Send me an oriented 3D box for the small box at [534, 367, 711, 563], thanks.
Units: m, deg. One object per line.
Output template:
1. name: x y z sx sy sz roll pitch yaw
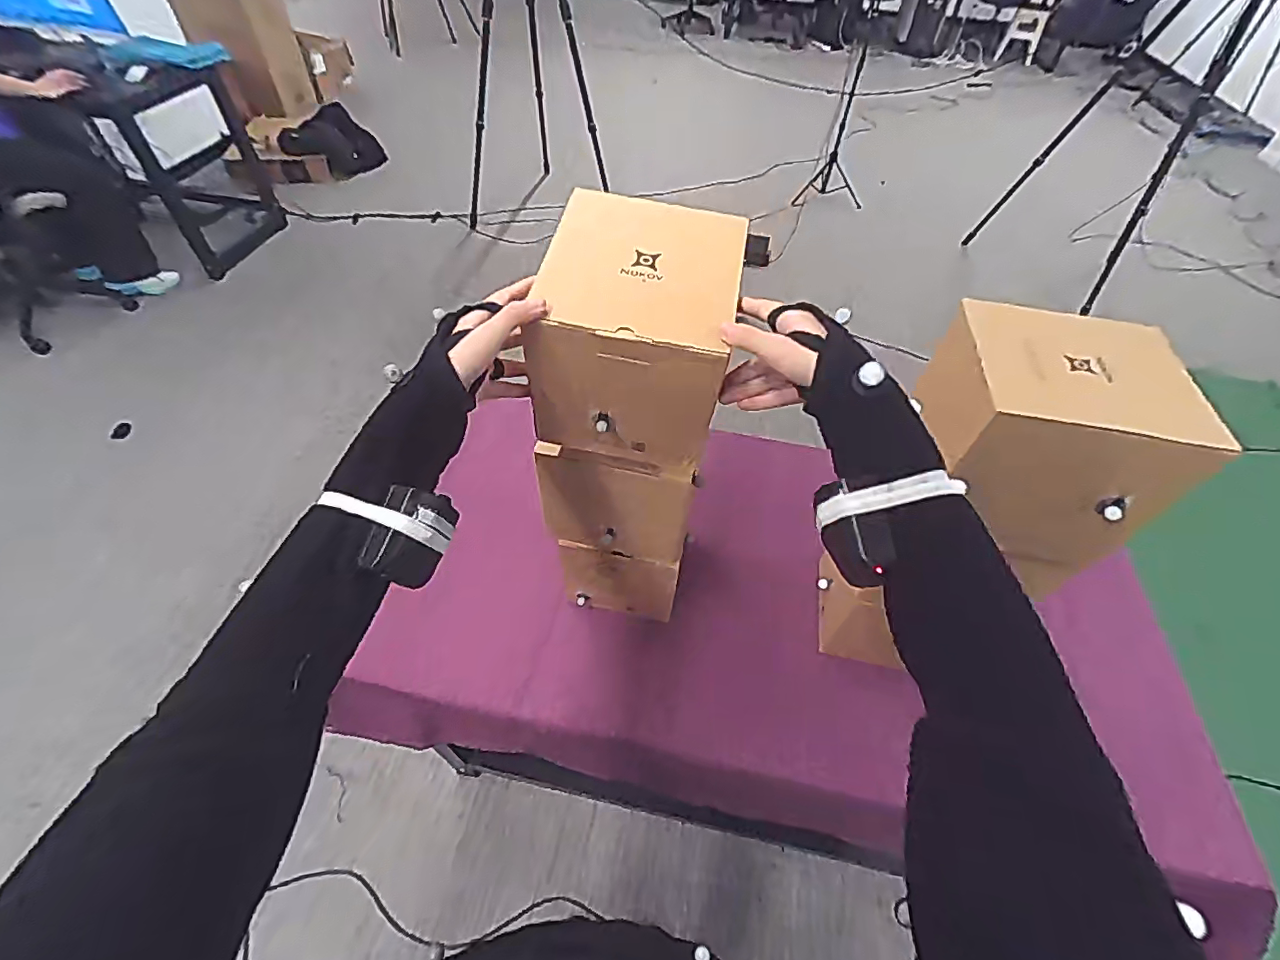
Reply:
1. small box: -0.019 -0.014 0.689 0.179 0.176 0.168 12 50 6

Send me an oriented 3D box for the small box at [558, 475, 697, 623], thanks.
1. small box: -0.015 0.092 0.815 0.168 0.176 0.179 11 50 5

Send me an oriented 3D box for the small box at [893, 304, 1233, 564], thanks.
1. small box: 0.368 -0.039 0.517 0.179 0.176 0.168 11 50 6

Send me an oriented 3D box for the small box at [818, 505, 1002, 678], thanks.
1. small box: 0.370 0.165 0.775 0.179 0.176 0.168 12 50 6
